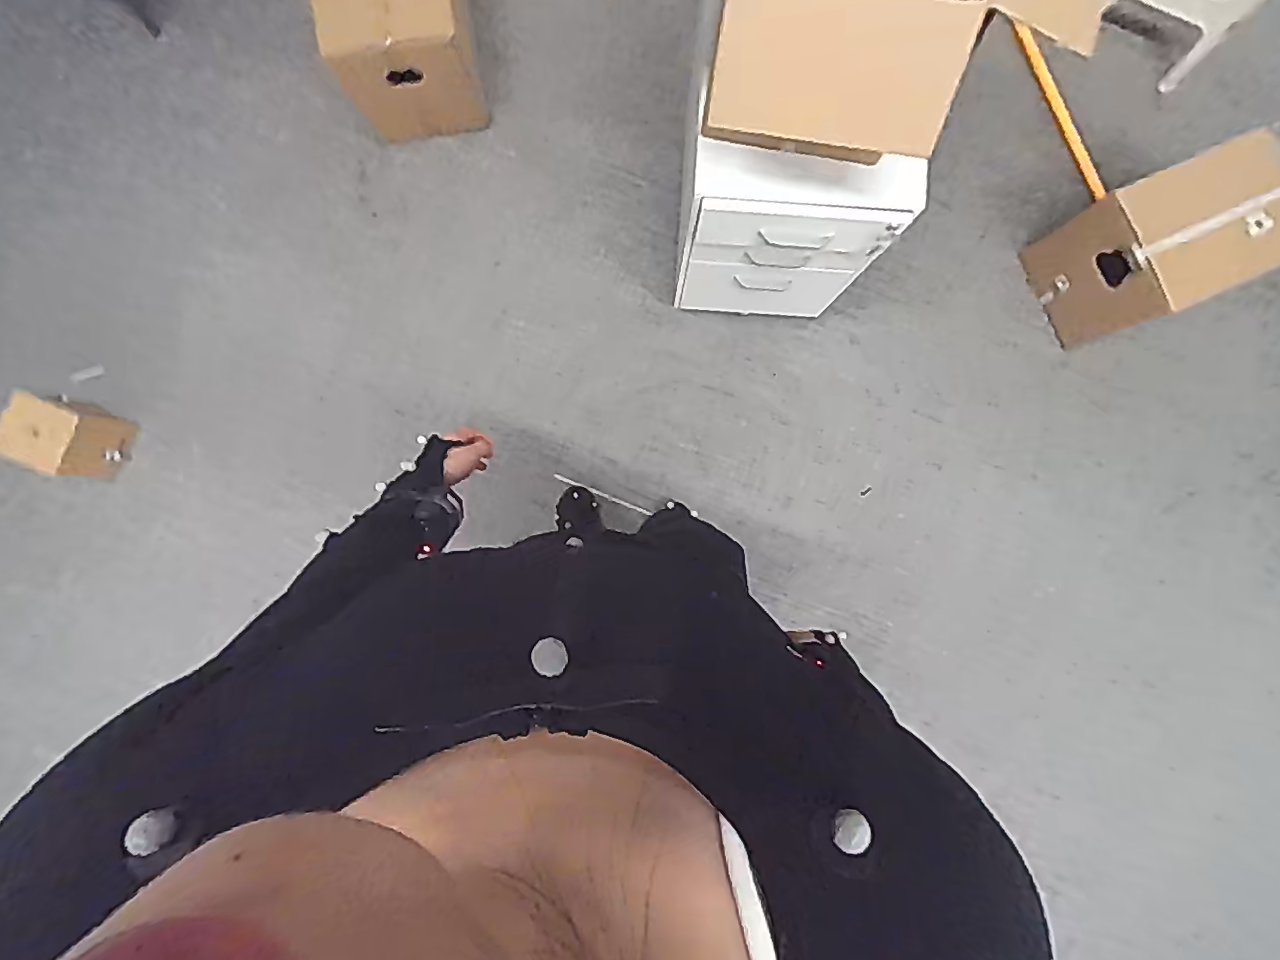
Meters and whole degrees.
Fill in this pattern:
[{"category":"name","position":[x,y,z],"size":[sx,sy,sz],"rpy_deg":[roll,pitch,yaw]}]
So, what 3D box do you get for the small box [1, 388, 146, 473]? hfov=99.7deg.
[{"category":"small box","position":[-1.482,-0.121,1.425],"size":[0.179,0.176,0.168],"rpy_deg":[22,89,-1]}]
